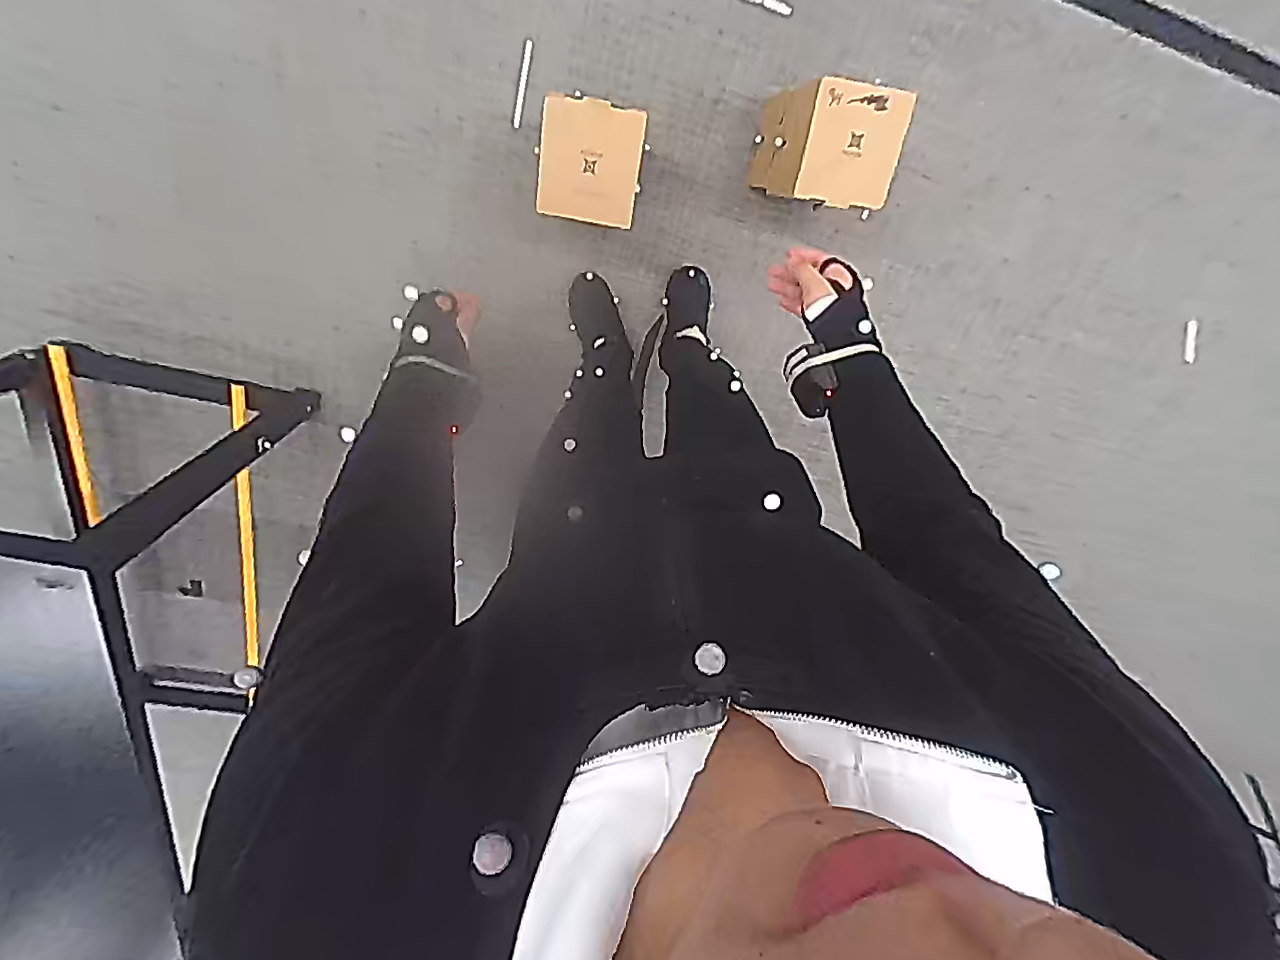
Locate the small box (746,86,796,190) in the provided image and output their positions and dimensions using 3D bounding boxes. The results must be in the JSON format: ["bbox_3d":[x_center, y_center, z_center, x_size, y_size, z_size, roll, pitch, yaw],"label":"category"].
[{"bbox_3d":[0.339,-0.684,1.111,0.179,0.176,0.168,7,118,-8],"label":"small box"}]

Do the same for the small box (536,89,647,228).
[{"bbox_3d":[-0.087,-0.562,0.958,0.168,0.176,0.179,7,119,-6],"label":"small box"}]

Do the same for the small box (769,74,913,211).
[{"bbox_3d":[0.345,-0.598,0.972,0.168,0.176,0.179,6,119,-8],"label":"small box"}]
